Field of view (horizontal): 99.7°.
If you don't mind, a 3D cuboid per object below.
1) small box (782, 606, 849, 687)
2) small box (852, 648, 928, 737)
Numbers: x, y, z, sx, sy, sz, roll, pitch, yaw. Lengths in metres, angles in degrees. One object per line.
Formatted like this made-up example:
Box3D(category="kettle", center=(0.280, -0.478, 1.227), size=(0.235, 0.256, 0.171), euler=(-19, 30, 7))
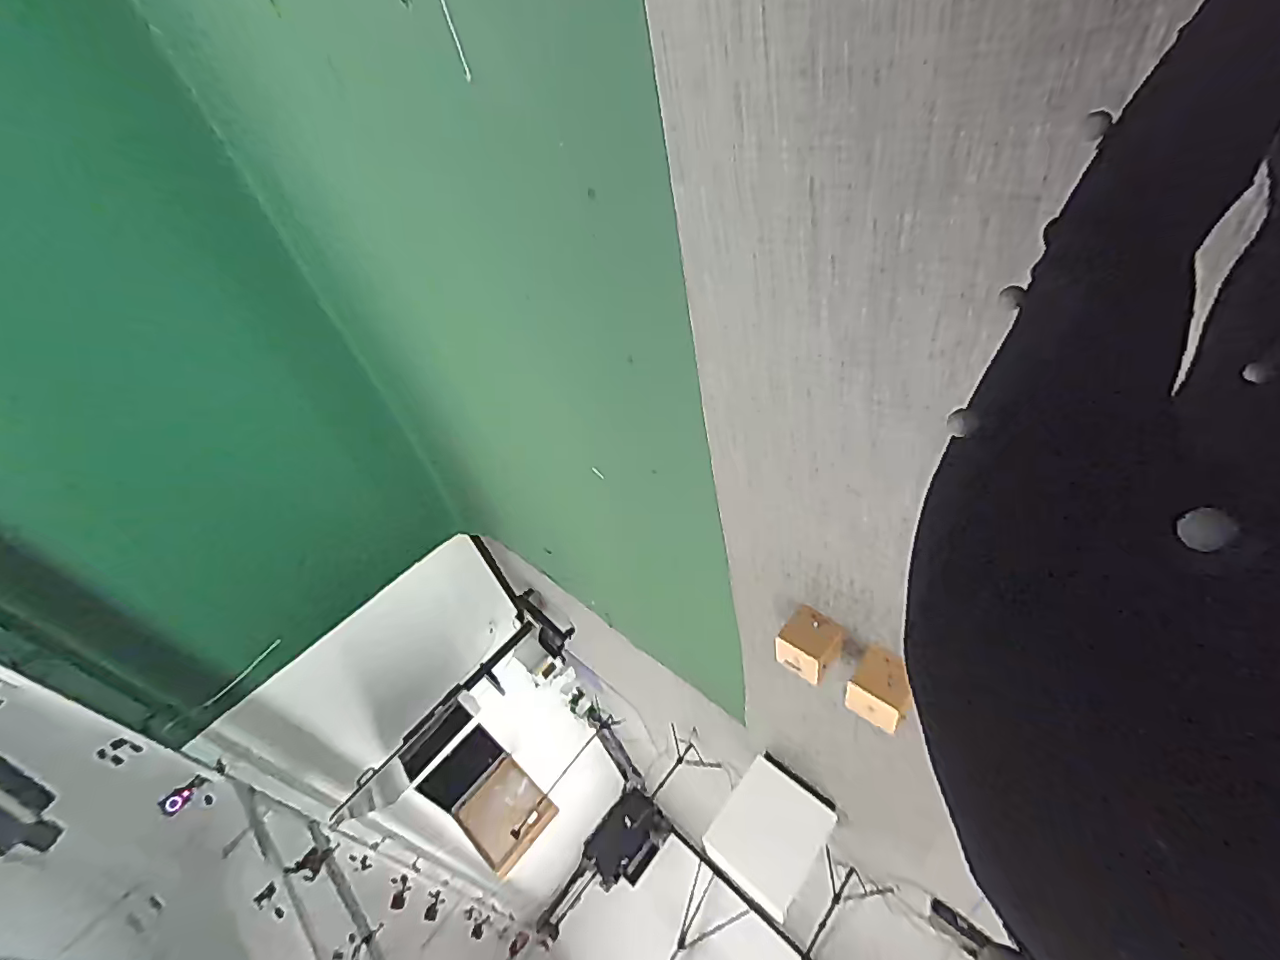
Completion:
Box3D(category="small box", center=(0.616, 0.581, 1.898), size=(0.168, 0.176, 0.179), euler=(26, 145, 37))
Box3D(category="small box", center=(0.806, 0.678, 1.744), size=(0.168, 0.176, 0.179), euler=(26, 146, 38))
